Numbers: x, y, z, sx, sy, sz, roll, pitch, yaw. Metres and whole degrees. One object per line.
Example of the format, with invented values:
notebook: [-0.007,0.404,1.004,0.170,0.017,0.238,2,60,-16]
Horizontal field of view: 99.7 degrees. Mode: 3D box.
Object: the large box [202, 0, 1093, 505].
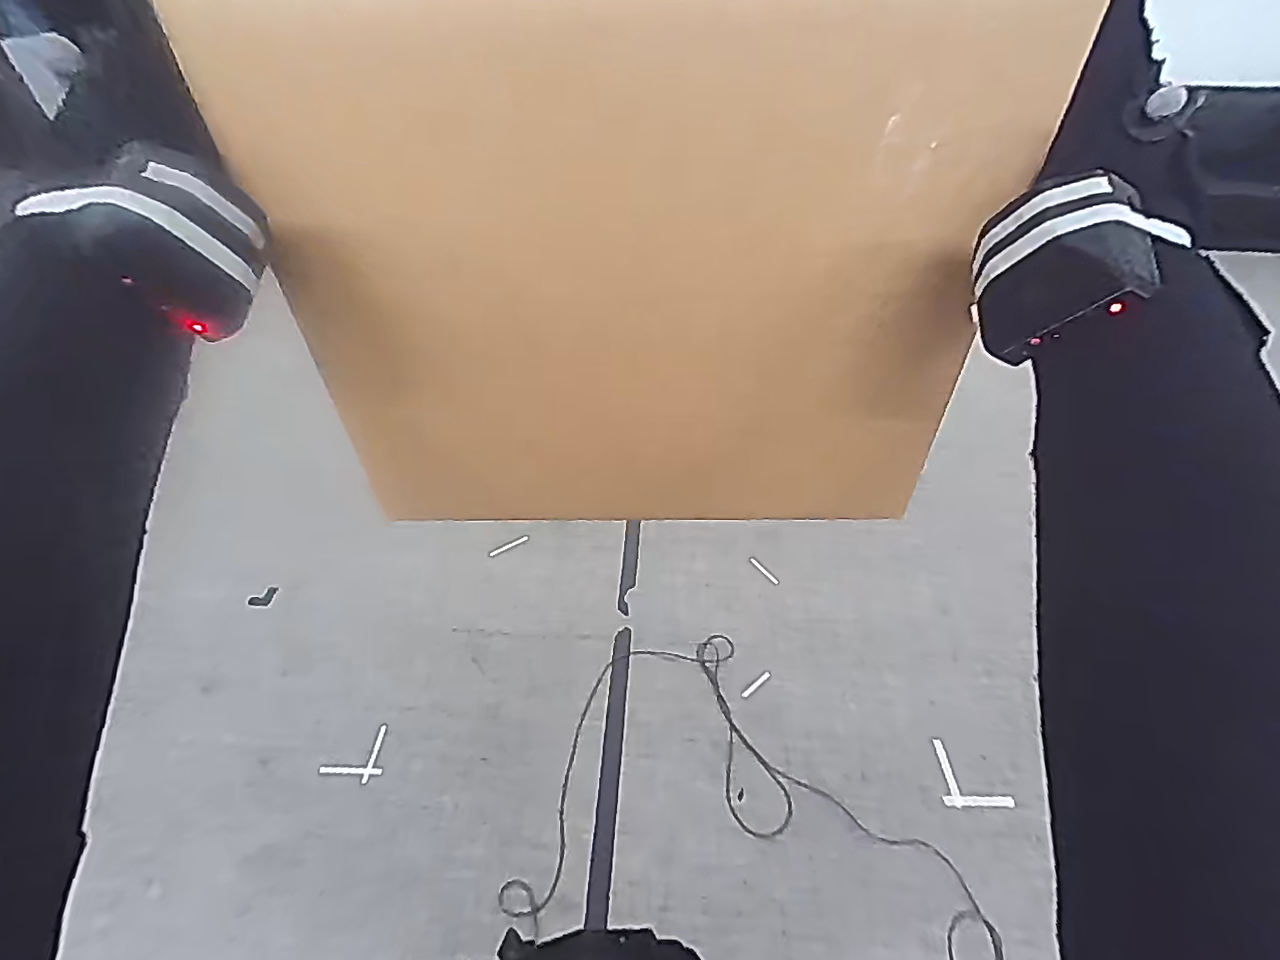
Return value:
large box: [0.003,-0.190,0.443,0.408,0.320,0.320,0,40,1]
